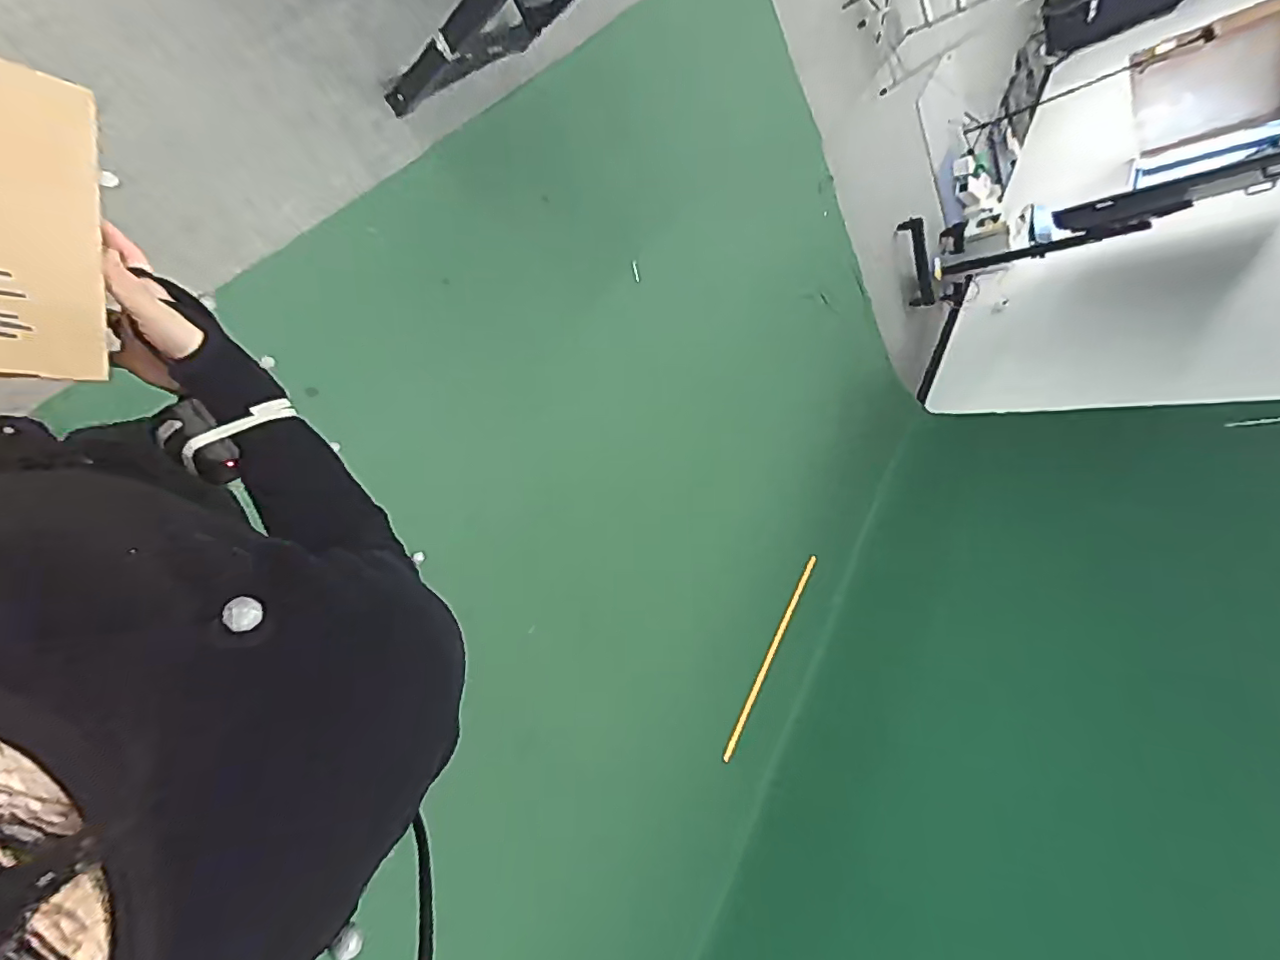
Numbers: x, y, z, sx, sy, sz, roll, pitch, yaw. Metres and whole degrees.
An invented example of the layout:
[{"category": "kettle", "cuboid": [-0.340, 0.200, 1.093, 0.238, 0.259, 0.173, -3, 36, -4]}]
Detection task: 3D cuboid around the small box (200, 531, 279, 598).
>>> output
[{"category": "small box", "cuboid": [-0.859, 0.232, 1.240, 0.168, 0.176, 0.179, -54, 128, -28]}]
